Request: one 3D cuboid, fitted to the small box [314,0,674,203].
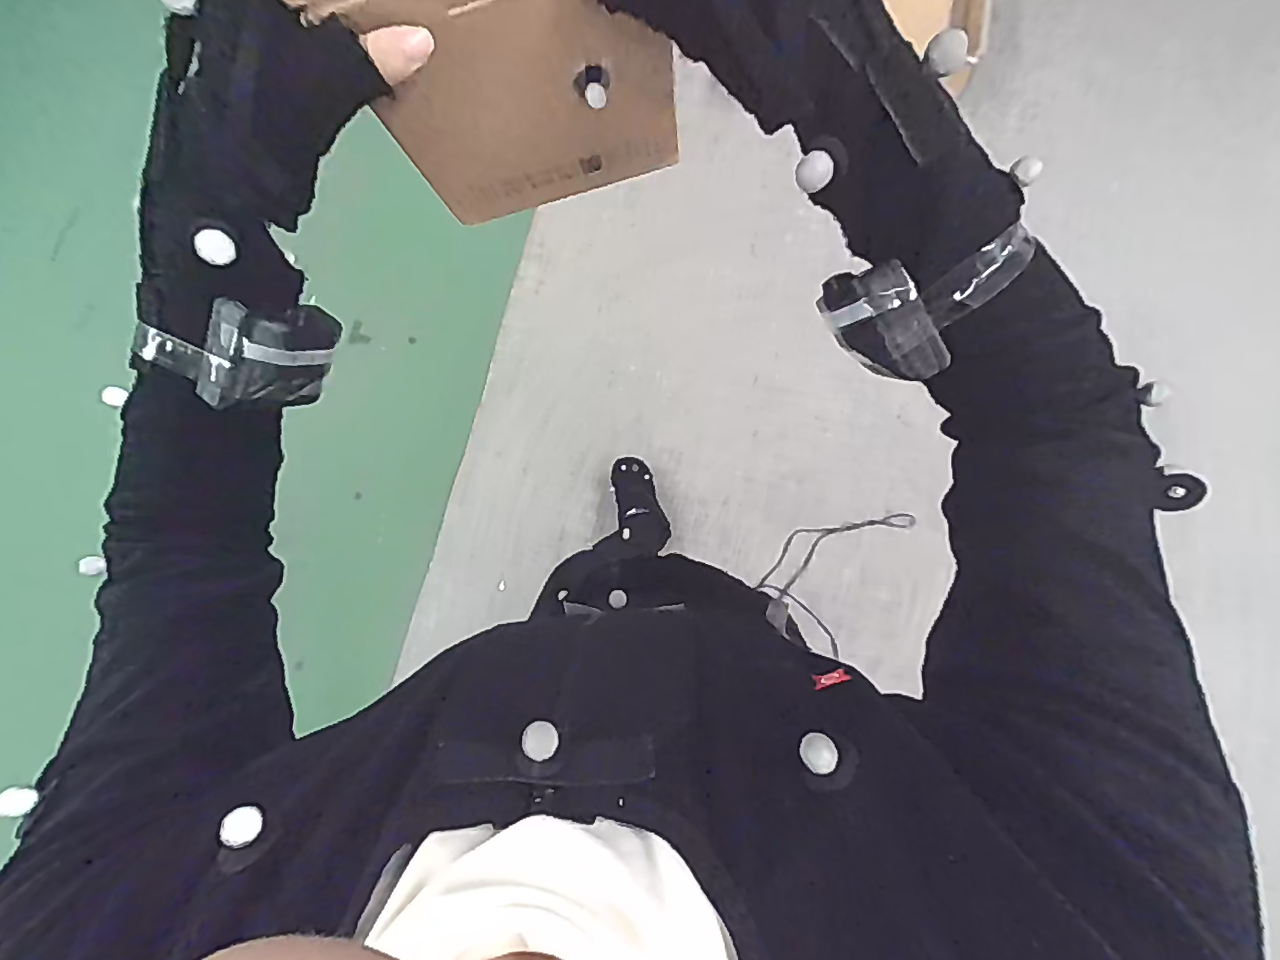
[{"bbox_3d":[-0.078,-0.301,0.331,0.168,0.176,0.179,-13,82,5],"label":"small box"}]
